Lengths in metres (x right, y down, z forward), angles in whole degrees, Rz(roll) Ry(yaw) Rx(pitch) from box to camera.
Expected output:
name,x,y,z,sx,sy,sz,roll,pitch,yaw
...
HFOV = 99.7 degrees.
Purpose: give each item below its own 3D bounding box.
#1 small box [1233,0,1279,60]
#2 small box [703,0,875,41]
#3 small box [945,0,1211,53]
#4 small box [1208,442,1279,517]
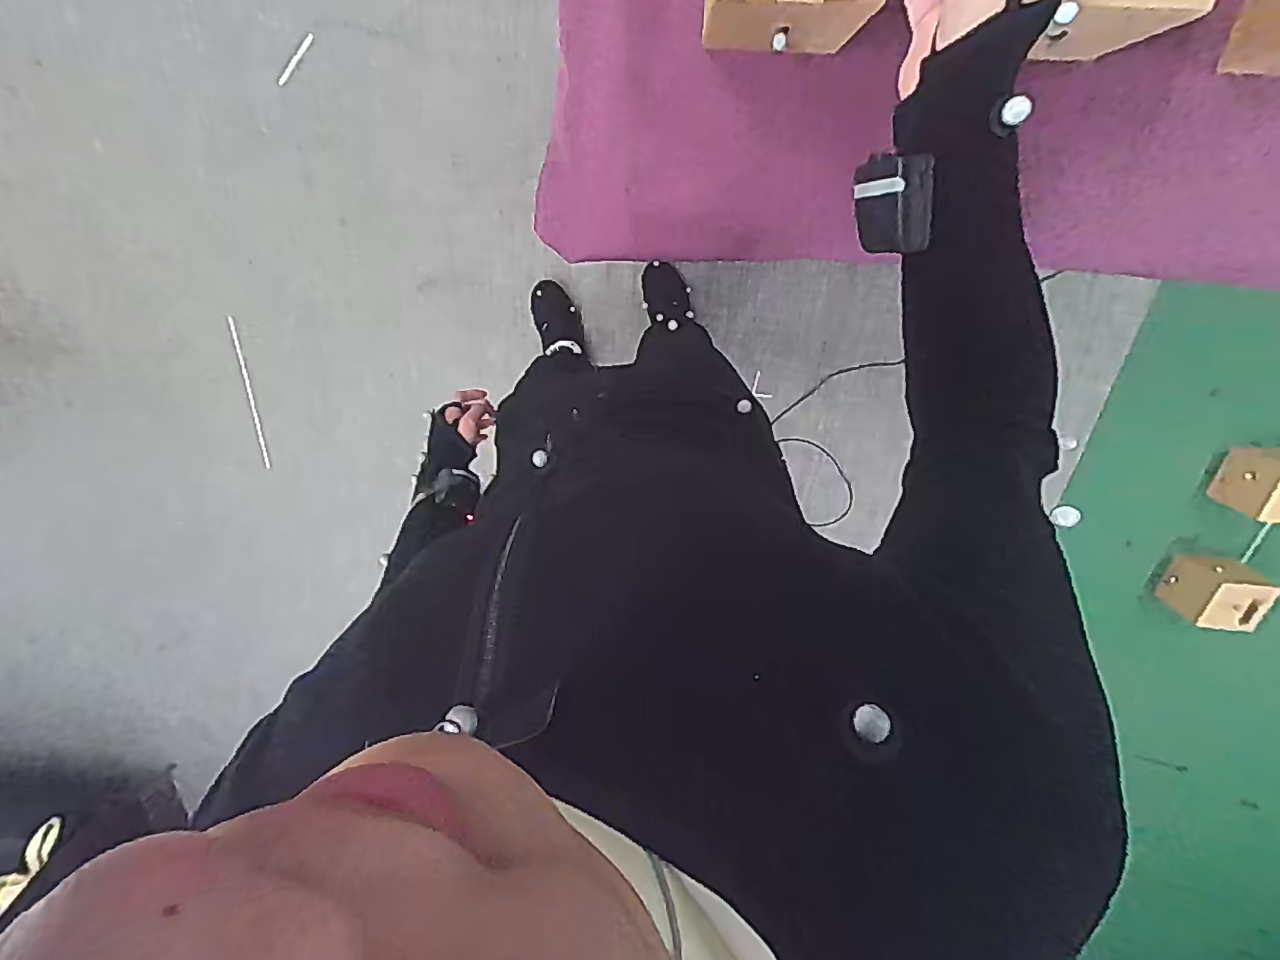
name,x,y,z,sx,sy,sz,roll,pitch,yaw
small box,0.764,-0.530,0.528,0.168,0.176,0.179,4,115,1
small box,0.154,-0.566,0.538,0.168,0.176,0.179,3,116,1
small box,0.444,-0.547,0.533,0.179,0.176,0.168,3,115,2
small box,1.801,-0.002,1.534,0.179,0.176,0.168,3,115,0
